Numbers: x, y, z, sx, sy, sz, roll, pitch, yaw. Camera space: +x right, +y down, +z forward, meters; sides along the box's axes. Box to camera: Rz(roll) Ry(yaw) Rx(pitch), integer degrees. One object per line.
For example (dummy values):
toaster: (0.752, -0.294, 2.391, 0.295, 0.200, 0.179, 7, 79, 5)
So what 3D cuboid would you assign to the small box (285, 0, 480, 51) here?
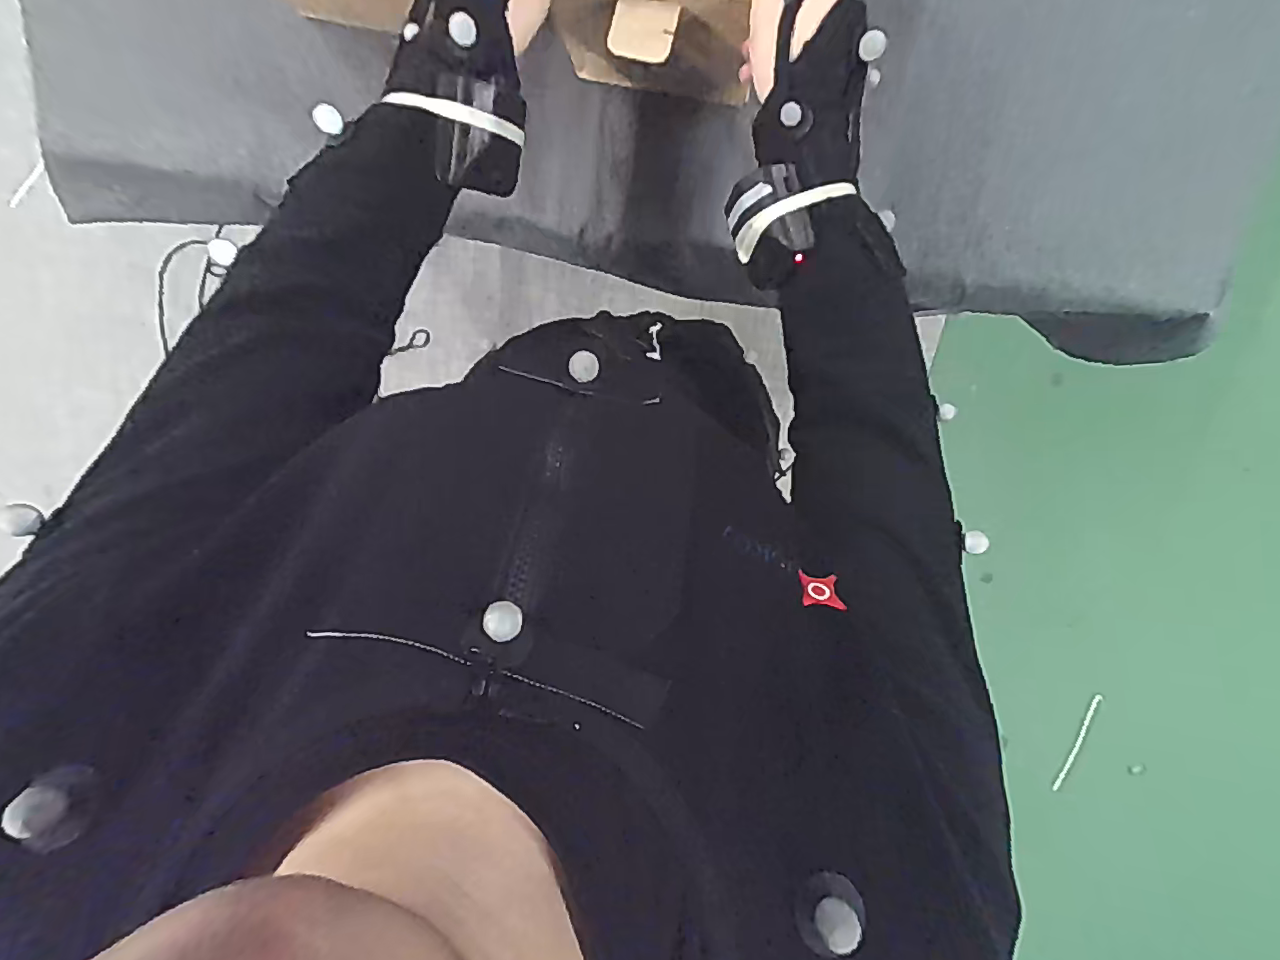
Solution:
small box: (-0.235, -0.483, 0.427, 0.179, 0.176, 0.168, 12, 106, 1)

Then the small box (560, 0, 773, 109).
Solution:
small box: (0.029, -0.430, 0.418, 0.168, 0.176, 0.179, 11, 106, 2)
